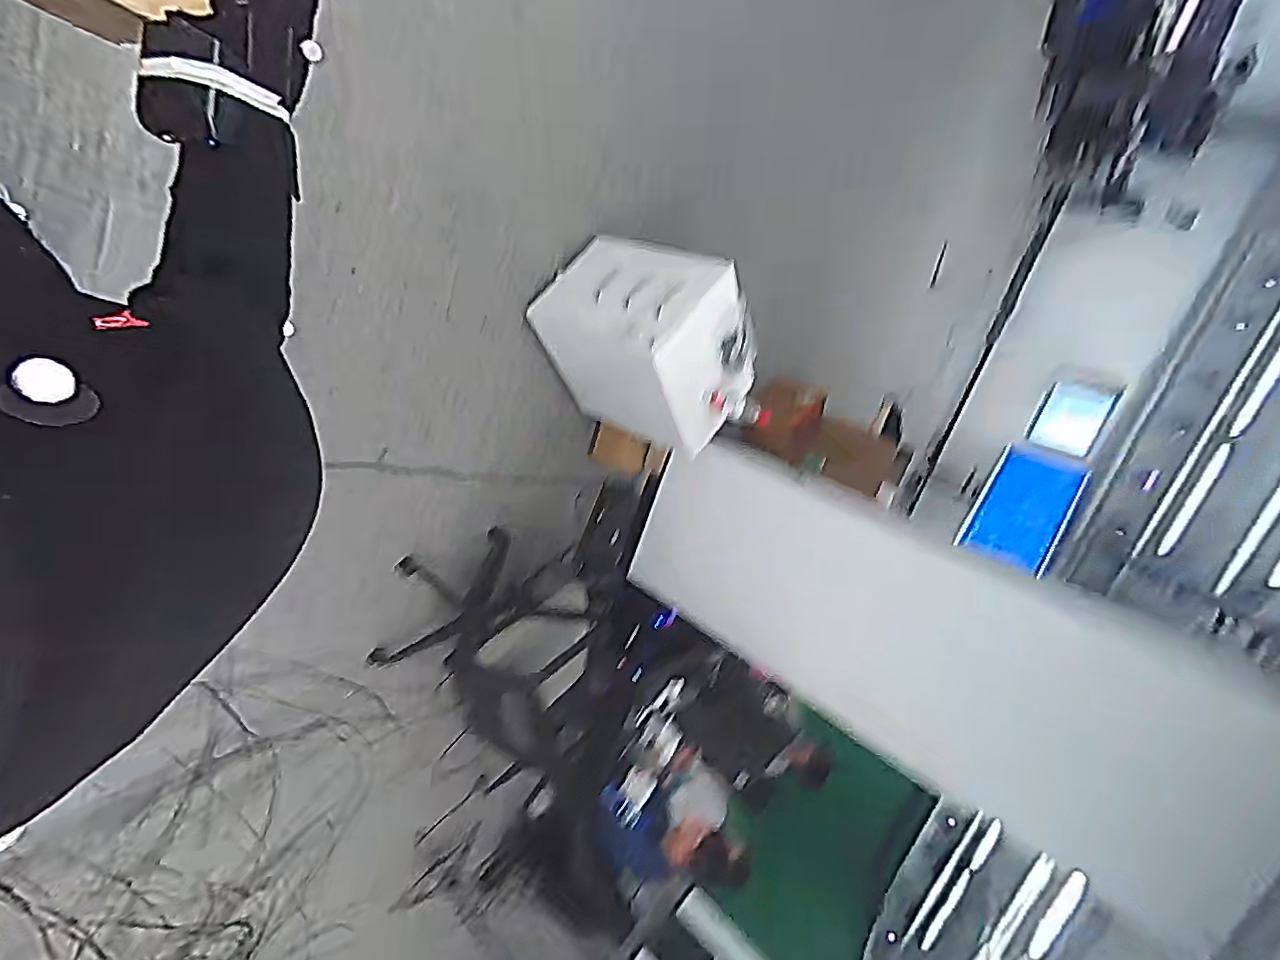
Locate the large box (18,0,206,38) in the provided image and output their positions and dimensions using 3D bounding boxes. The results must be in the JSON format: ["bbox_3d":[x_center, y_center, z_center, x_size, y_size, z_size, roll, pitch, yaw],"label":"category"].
[{"bbox_3d":[-0.489,-0.504,0.259,0.408,0.320,0.320,-2,118,-54],"label":"large box"}]
